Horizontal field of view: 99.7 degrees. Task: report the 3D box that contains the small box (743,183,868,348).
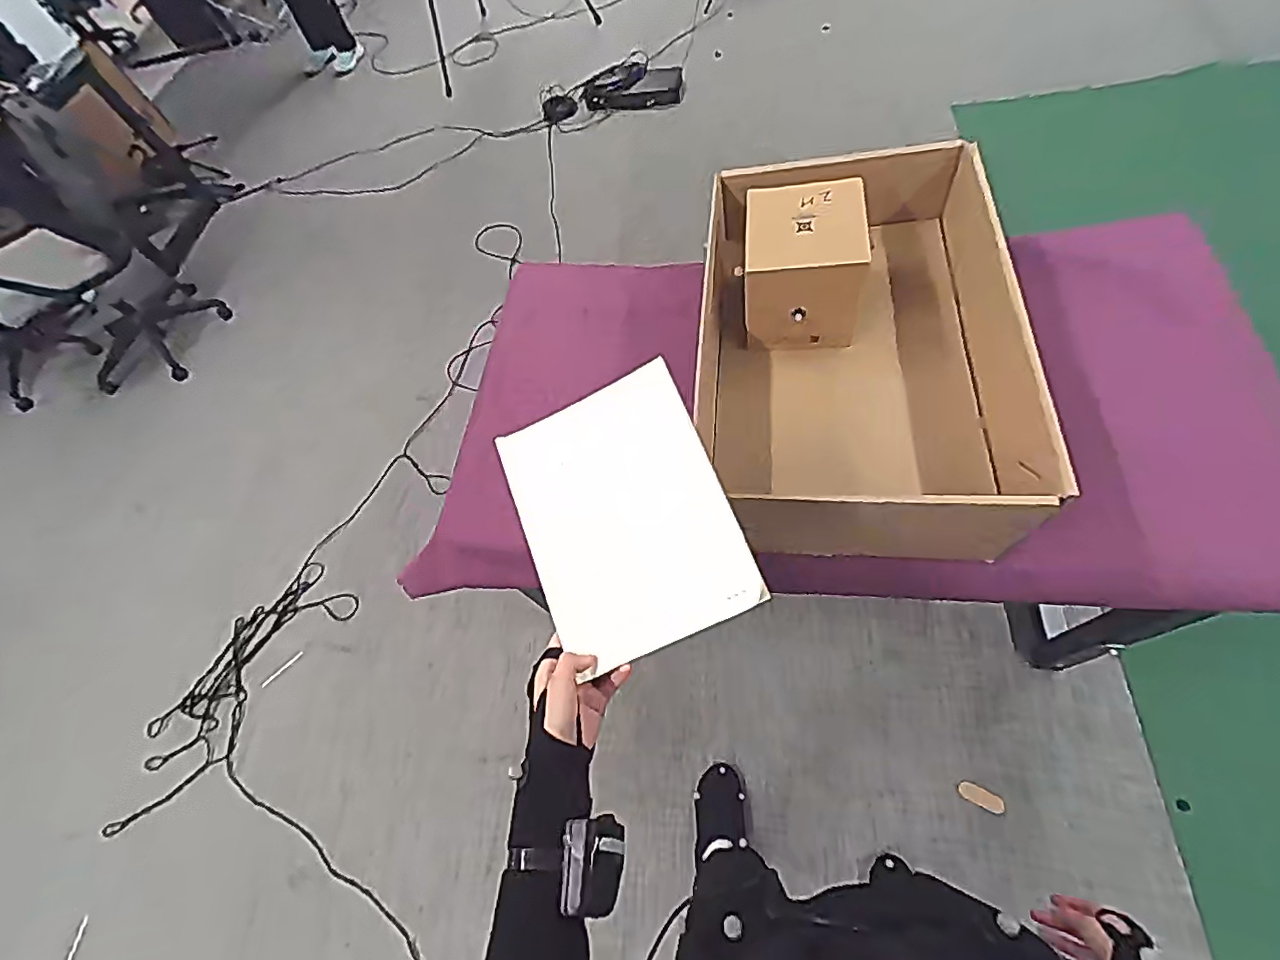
[{"bbox_3d":[0.249,-0.318,0.834,0.168,0.176,0.179,1,63,13],"label":"small box"}]
